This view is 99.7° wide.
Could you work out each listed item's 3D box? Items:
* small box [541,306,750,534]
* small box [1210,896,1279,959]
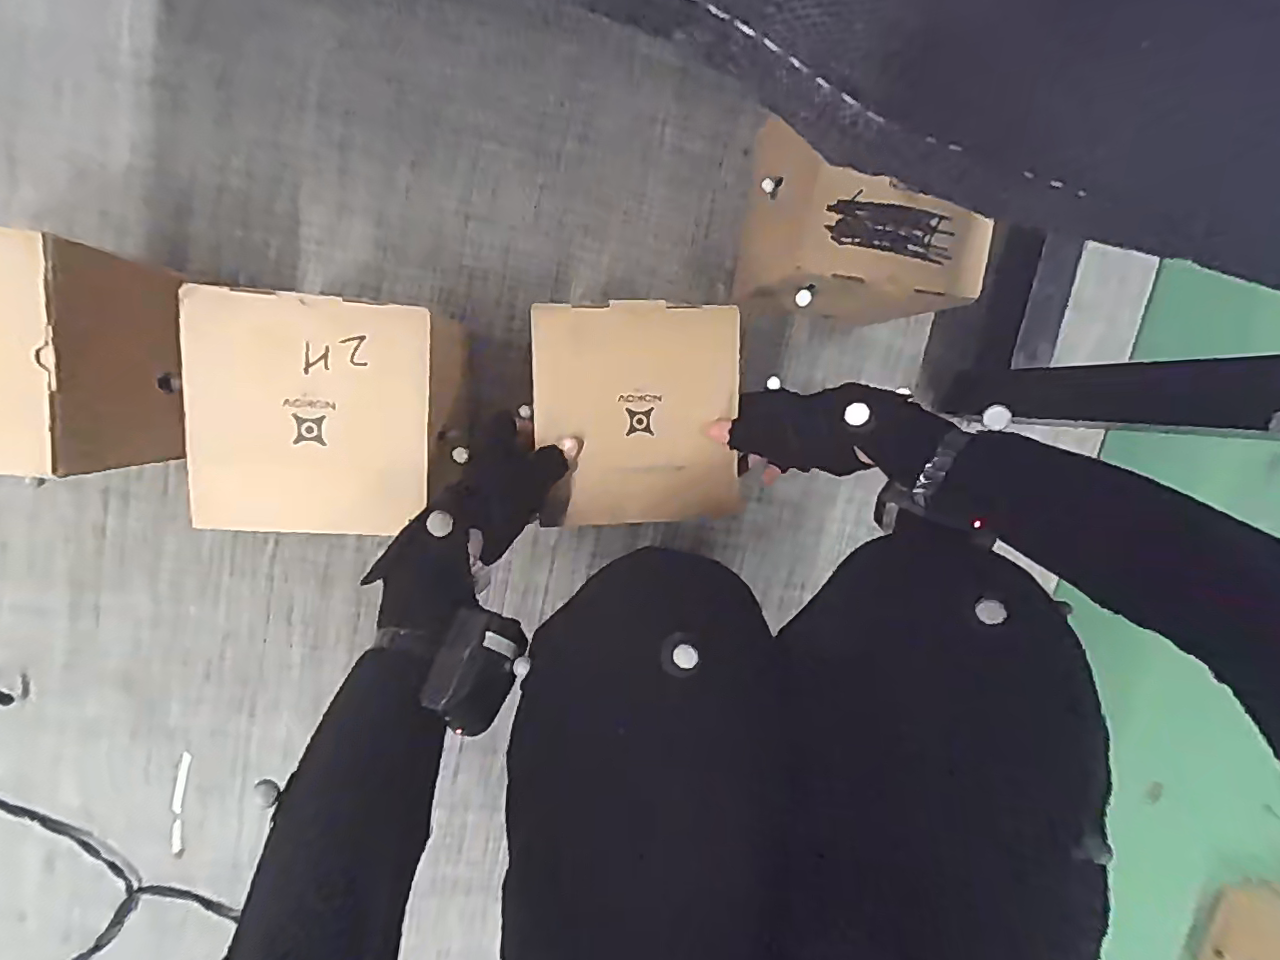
[{"bbox_3d":[-0.005,-0.056,0.501,0.168,0.176,0.179,-2,100,-7],"label":"small box"},{"bbox_3d":[0.995,0.746,0.780,0.179,0.176,0.168,10,98,-8],"label":"small box"}]
